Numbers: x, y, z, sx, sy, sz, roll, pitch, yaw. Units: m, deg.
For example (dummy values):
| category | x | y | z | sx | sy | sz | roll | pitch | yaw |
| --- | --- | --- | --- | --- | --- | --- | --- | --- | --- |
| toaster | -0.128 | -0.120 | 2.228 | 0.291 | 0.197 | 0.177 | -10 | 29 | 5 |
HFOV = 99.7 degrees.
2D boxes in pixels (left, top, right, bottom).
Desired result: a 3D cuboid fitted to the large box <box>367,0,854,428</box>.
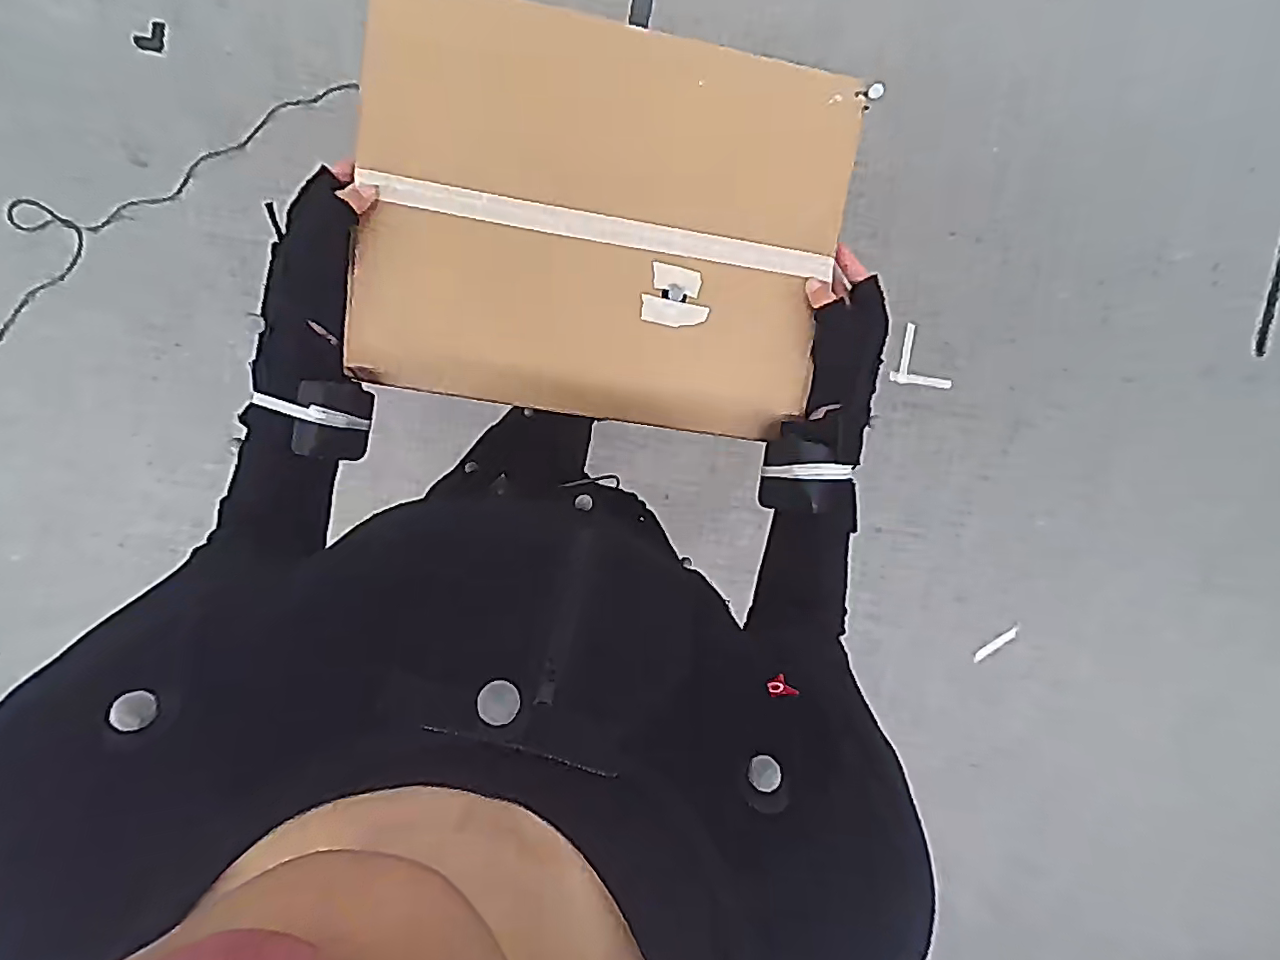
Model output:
| category | x | y | z | sx | sy | sz | roll | pitch | yaw |
| --- | --- | --- | --- | --- | --- | --- | --- | --- | --- |
| large box | -0.042 | -0.244 | 0.618 | 0.408 | 0.320 | 0.320 | 7 | 100 | -7 |
